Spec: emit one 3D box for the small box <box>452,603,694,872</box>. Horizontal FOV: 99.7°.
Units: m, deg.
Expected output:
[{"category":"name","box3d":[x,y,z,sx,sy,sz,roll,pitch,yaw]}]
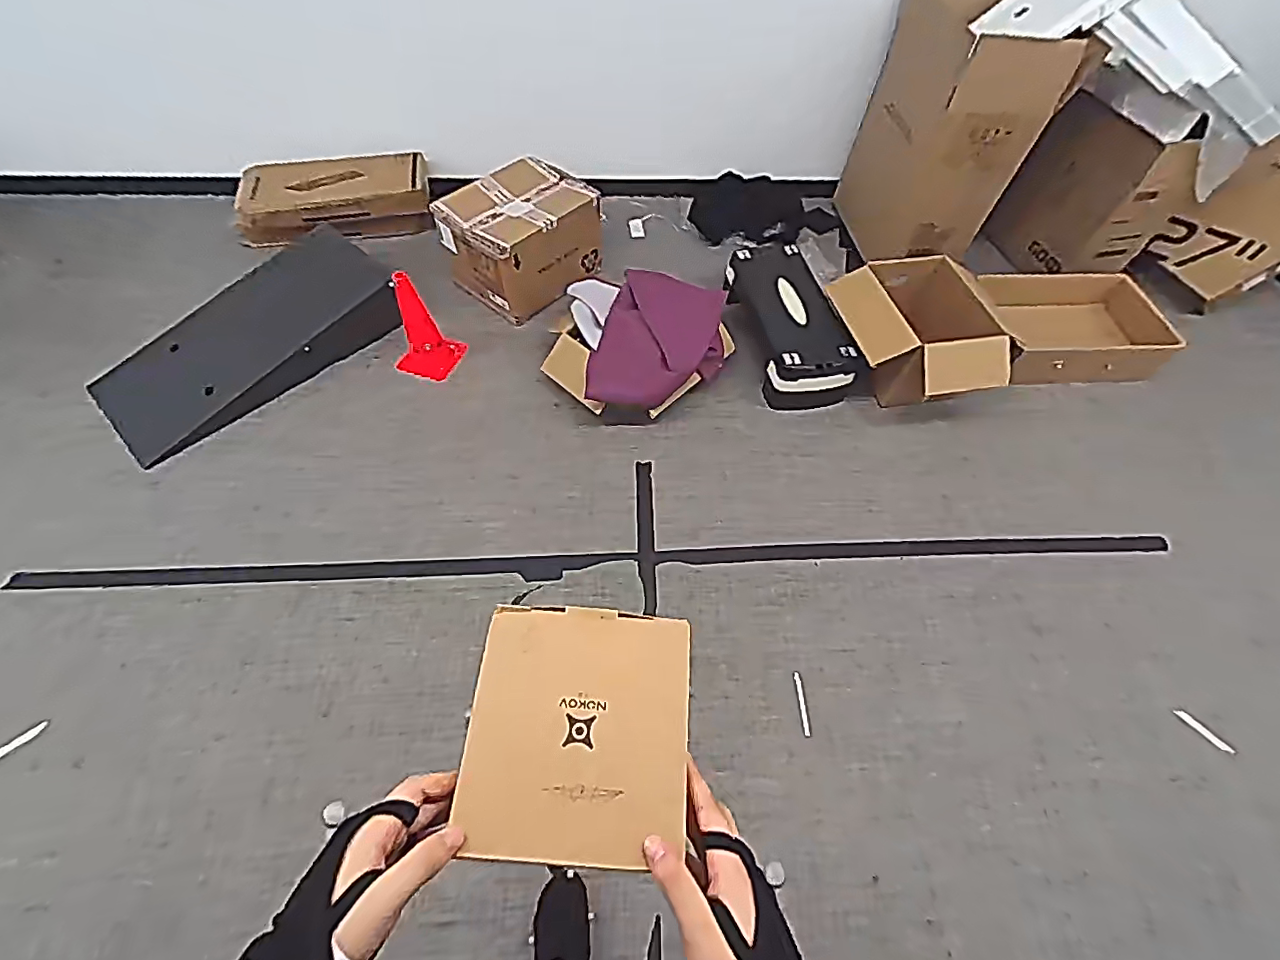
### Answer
[{"category":"small box","box3d":[-0.047,0.222,0.476,0.168,0.176,0.179,4,62,-1]}]
